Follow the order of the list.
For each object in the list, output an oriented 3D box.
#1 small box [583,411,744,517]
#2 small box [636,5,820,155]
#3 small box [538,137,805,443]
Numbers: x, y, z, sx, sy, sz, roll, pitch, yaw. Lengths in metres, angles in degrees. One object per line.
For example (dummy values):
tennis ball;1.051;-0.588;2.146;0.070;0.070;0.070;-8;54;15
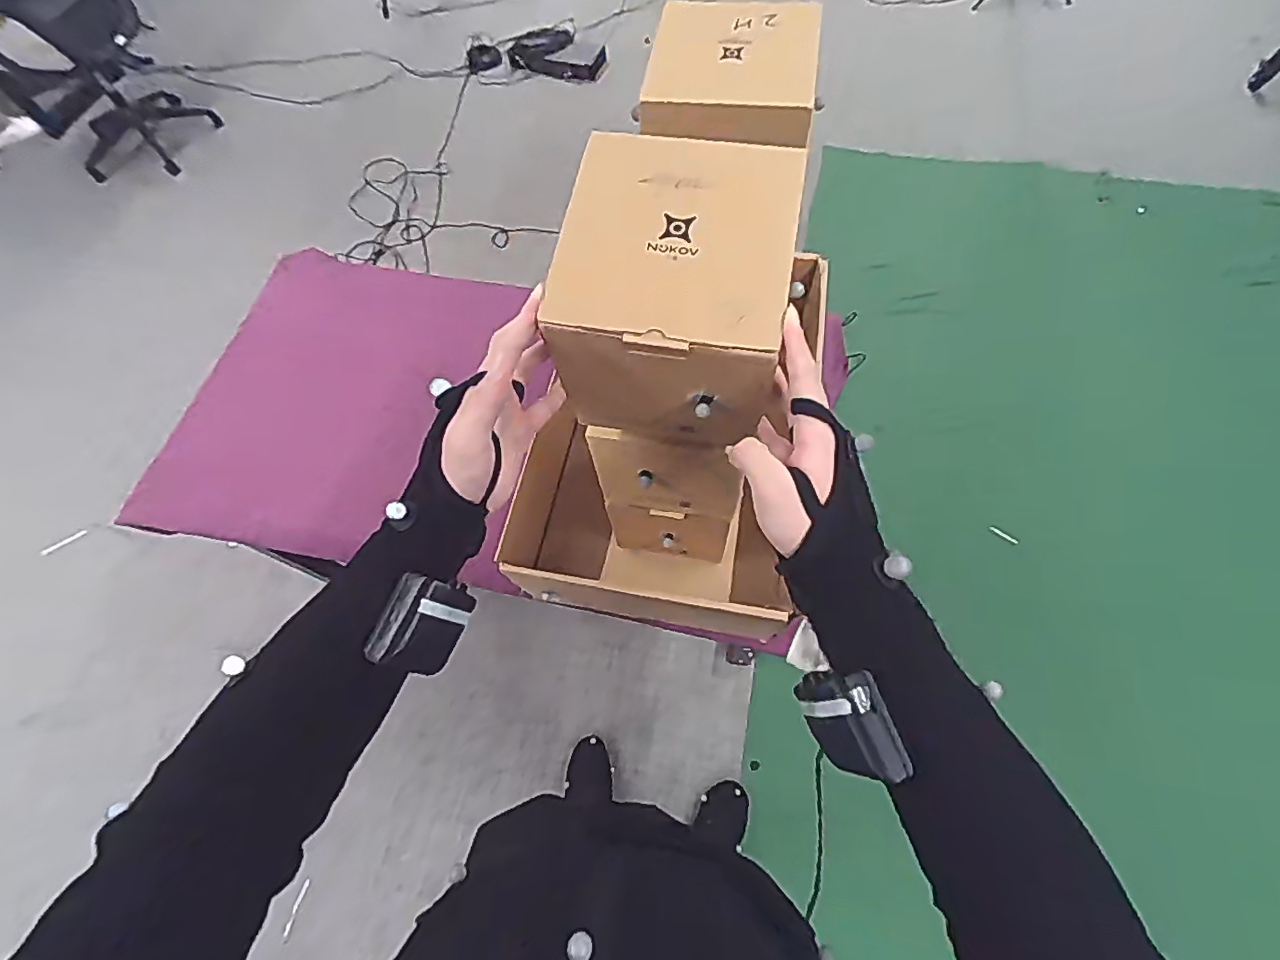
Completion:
small box;0.043;-0.071;0.648;0.168;0.176;0.179;8;63;9
small box;0.097;-0.389;0.610;0.168;0.176;0.179;8;66;7
small box;0.031;-0.145;0.457;0.168;0.176;0.179;9;73;7
